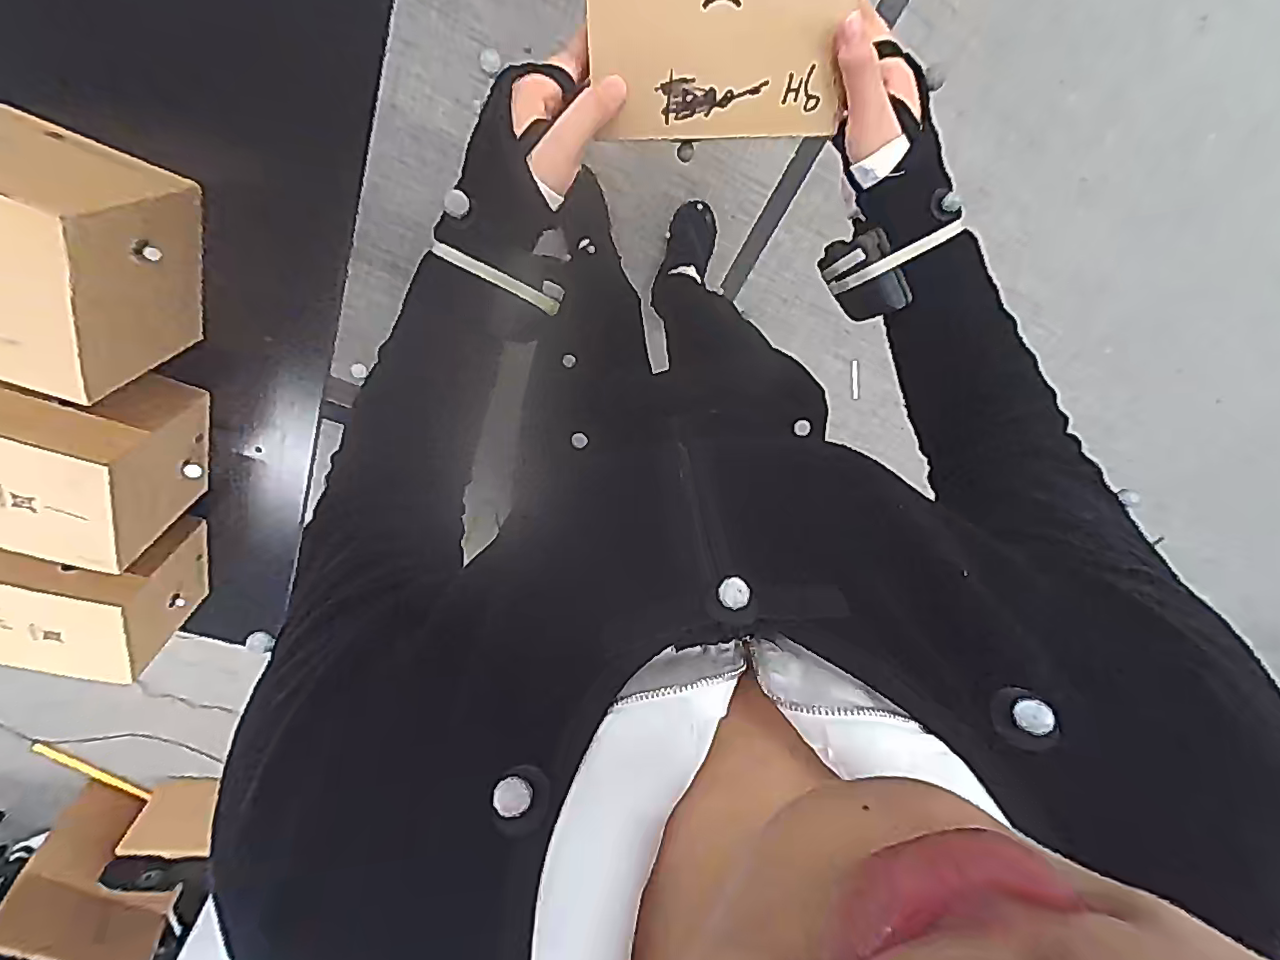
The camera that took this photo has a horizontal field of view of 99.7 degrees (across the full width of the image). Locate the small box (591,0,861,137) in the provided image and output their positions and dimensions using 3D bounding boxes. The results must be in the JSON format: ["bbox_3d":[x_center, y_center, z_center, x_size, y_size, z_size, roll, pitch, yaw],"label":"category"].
[{"bbox_3d":[0.049,-0.347,0.379,0.168,0.176,0.179,-1,125,0],"label":"small box"}]

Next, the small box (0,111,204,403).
[{"bbox_3d":[-0.538,-0.206,0.491,0.168,0.176,0.179,20,123,-14],"label":"small box"}]
